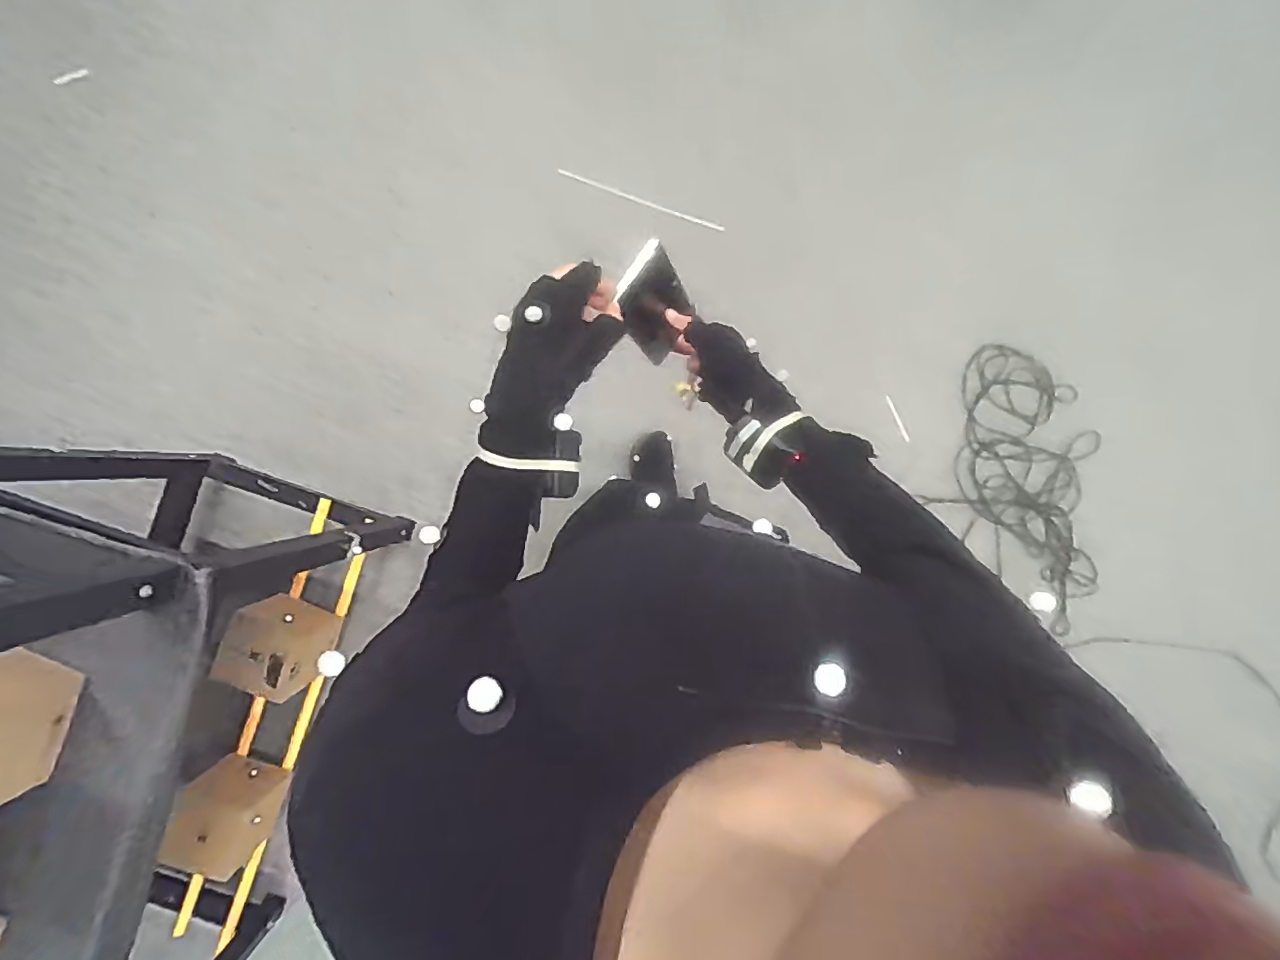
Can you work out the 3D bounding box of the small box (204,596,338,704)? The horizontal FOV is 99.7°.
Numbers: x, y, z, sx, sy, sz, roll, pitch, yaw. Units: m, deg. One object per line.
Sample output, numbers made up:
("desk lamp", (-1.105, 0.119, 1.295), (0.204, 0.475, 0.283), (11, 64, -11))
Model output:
("small box", (-0.862, 0.392, 1.282), (0.179, 0.176, 0.168), (23, 91, -2))
